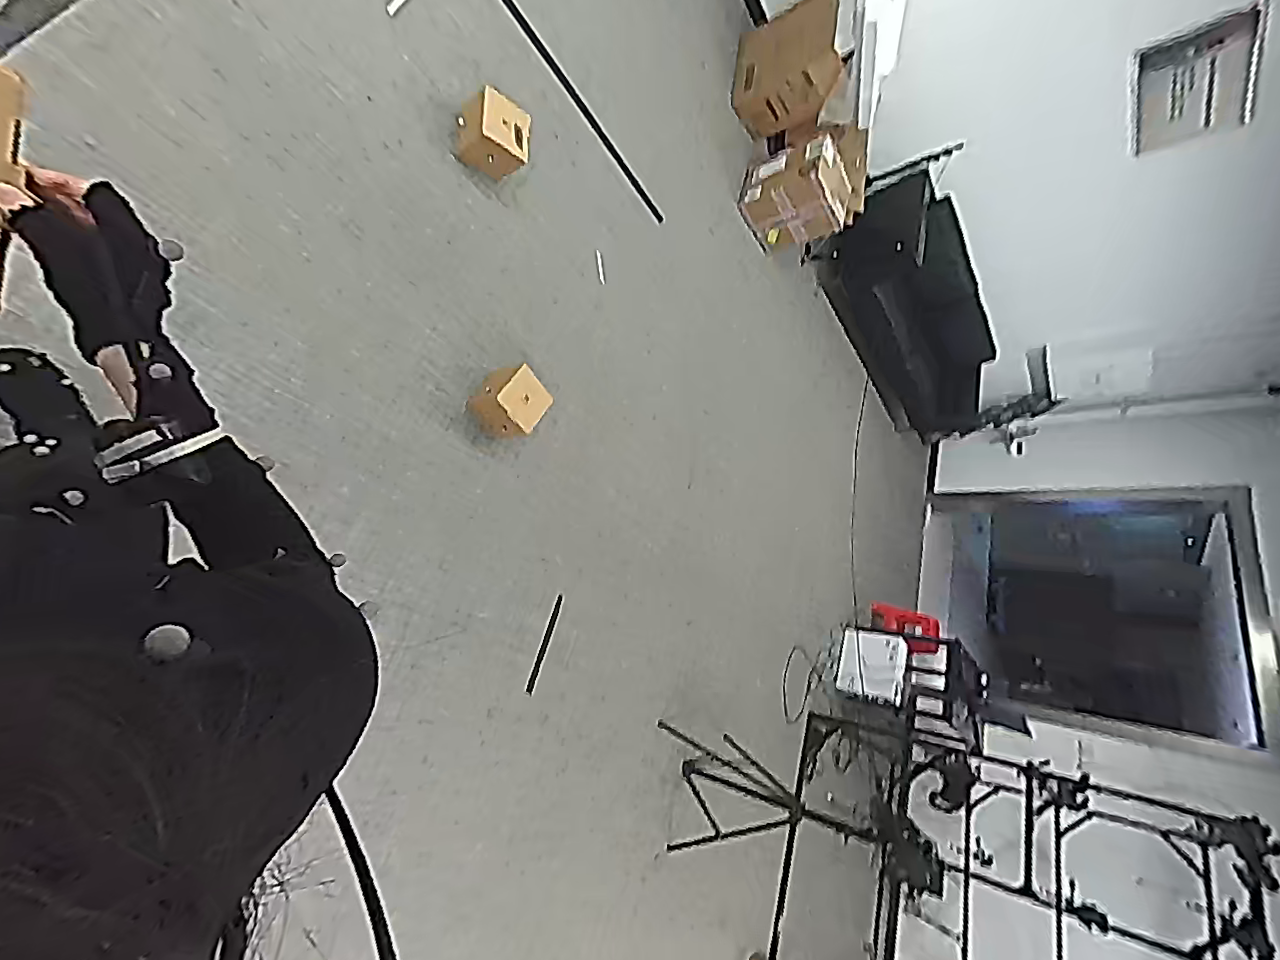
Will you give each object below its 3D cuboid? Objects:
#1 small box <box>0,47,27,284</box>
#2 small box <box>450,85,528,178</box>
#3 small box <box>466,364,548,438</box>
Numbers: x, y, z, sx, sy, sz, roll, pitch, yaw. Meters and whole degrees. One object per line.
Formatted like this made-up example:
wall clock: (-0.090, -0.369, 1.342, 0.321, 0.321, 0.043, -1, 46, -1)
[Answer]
small box: (-0.543, -0.232, 0.345, 0.179, 0.176, 0.168, 6, 100, -54)
small box: (-0.493, -1.127, 1.770, 0.179, 0.176, 0.168, 10, 80, -49)
small box: (-0.447, -0.255, 1.791, 0.168, 0.176, 0.179, 55, 49, -35)
